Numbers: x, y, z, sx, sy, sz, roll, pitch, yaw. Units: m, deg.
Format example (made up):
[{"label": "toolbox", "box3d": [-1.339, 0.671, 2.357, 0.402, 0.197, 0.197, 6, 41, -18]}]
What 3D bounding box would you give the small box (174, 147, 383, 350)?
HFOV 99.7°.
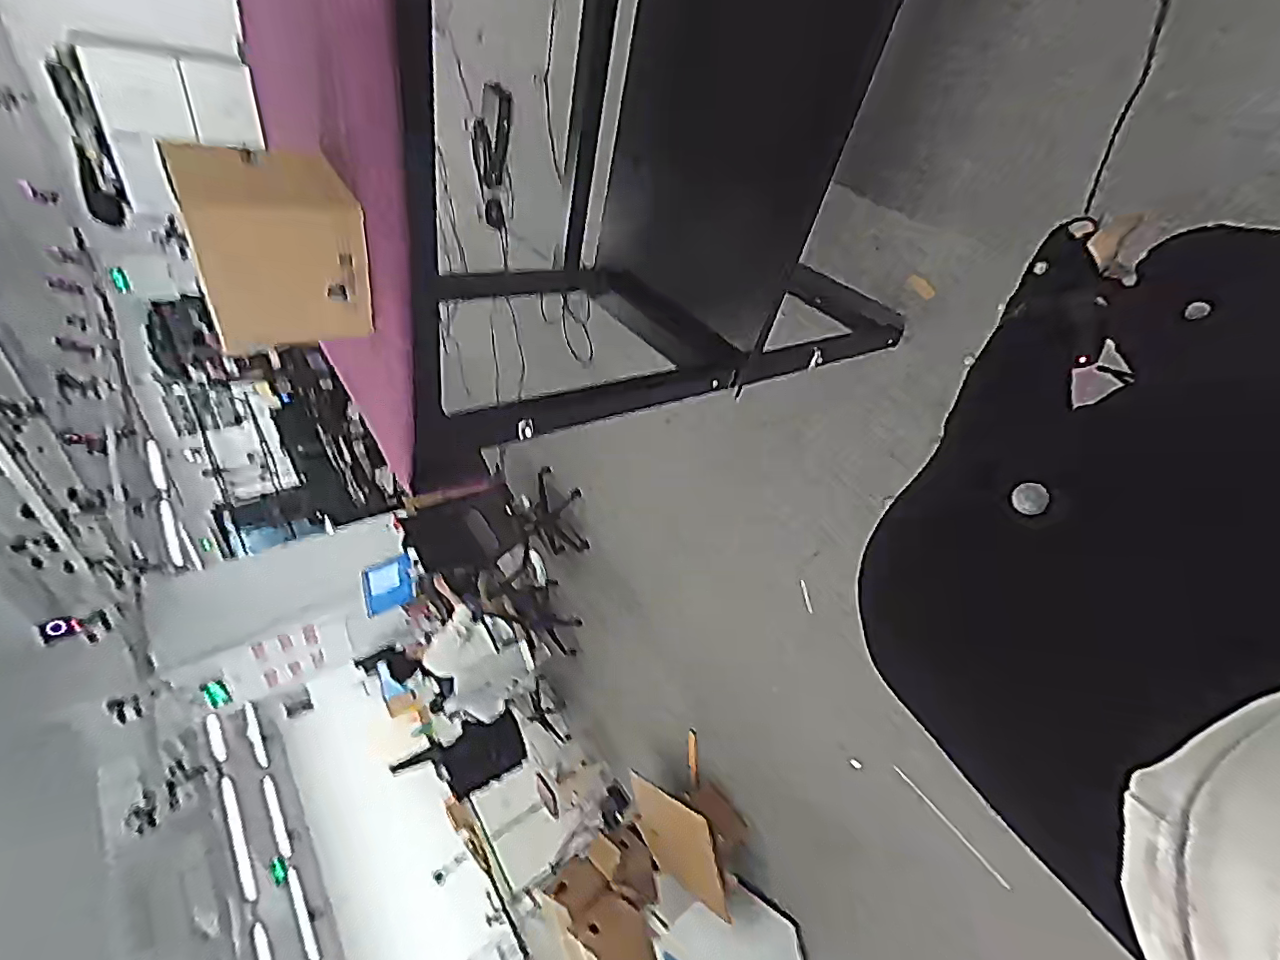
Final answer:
[{"label": "small box", "box3d": [-0.432, -0.282, 0.665, 0.179, 0.176, 0.168, 49, 141, 29]}]
